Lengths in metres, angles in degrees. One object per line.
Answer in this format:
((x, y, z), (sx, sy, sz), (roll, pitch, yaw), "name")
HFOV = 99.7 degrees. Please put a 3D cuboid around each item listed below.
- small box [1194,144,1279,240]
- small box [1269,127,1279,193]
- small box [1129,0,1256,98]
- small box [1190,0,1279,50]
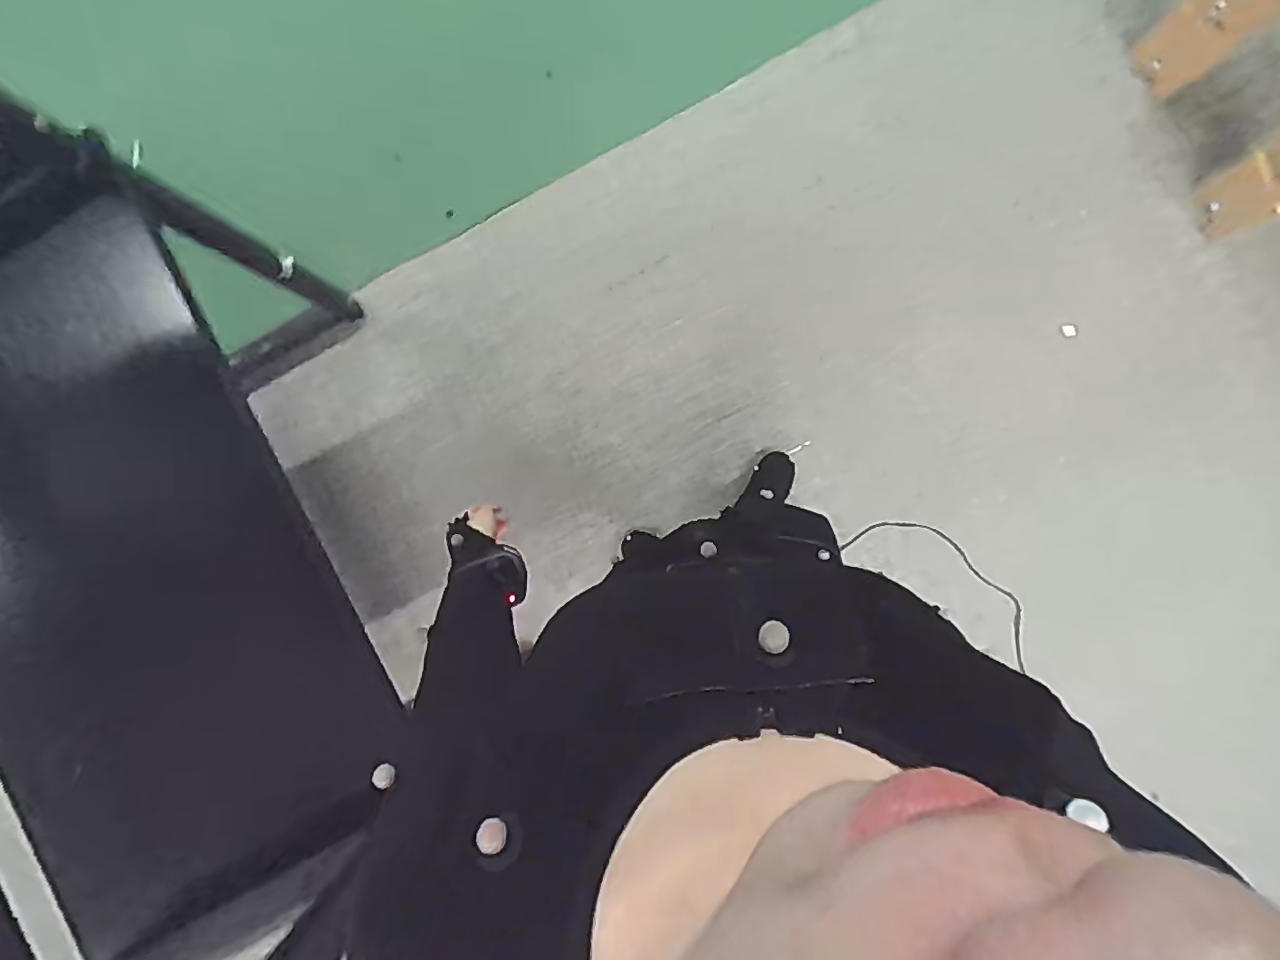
((1.580, -0.739, 1.362), (0.179, 0.176, 0.168), (-18, 88, 3), "small box")
((1.575, -0.763, 1.200), (0.179, 0.176, 0.168), (-14, 88, 3), "small box")
((1.423, -1.137, 1.375), (0.179, 0.176, 0.168), (-32, 88, 2), "small box")
((1.424, -1.137, 1.213), (0.179, 0.176, 0.168), (-32, 87, 2), "small box")
